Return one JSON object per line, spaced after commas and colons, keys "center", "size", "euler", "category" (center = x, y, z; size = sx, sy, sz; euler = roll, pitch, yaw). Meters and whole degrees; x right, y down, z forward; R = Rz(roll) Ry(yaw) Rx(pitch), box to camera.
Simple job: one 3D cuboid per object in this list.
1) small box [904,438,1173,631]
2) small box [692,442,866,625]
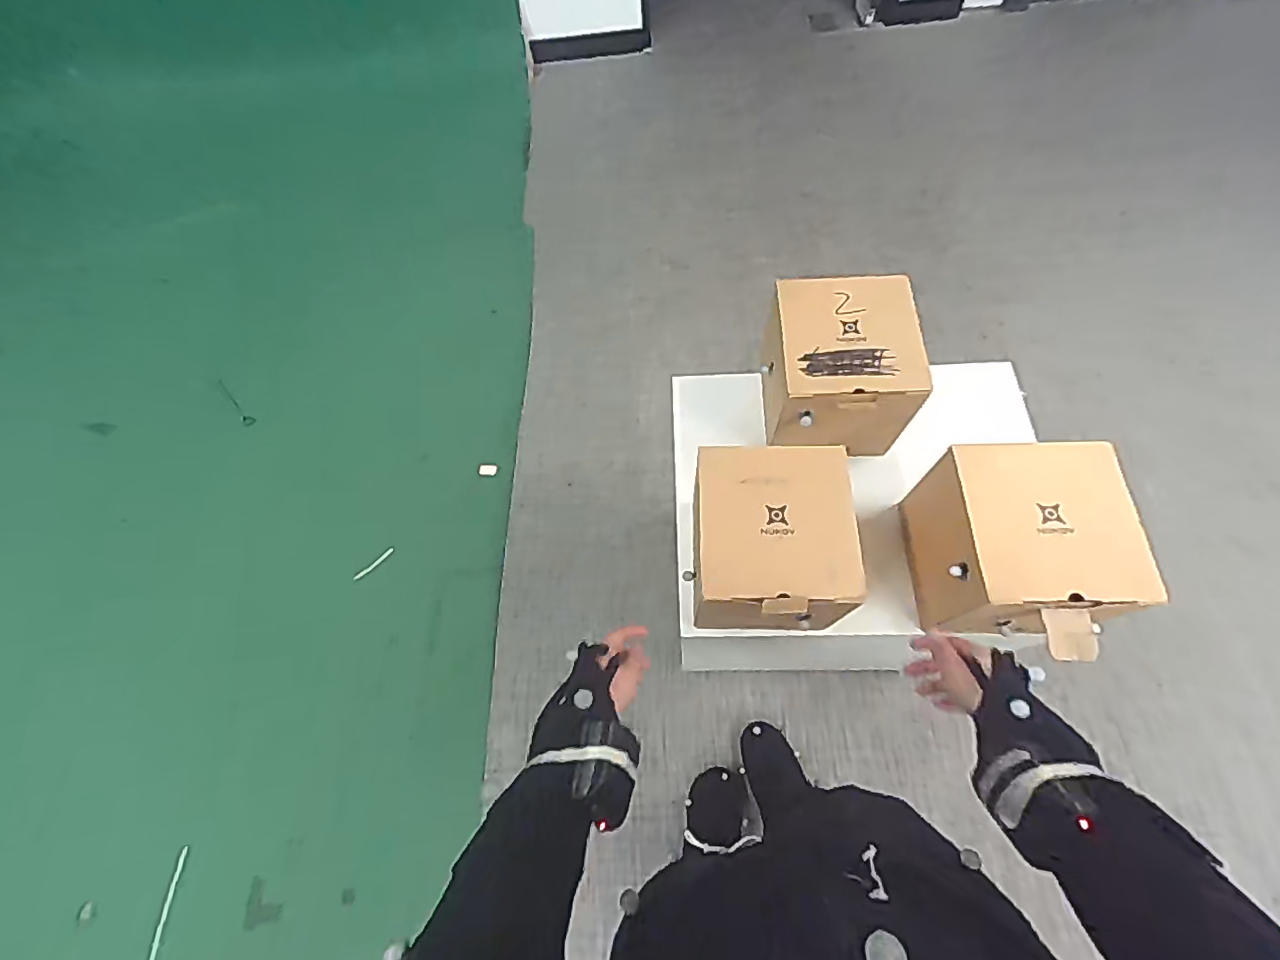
{"center": [0.424, 0.068, 0.617], "size": [0.168, 0.176, 0.179], "euler": [-1, 66, 5], "category": "small box"}
{"center": [0.148, 0.070, 0.639], "size": [0.168, 0.176, 0.179], "euler": [0, 65, 3], "category": "small box"}
